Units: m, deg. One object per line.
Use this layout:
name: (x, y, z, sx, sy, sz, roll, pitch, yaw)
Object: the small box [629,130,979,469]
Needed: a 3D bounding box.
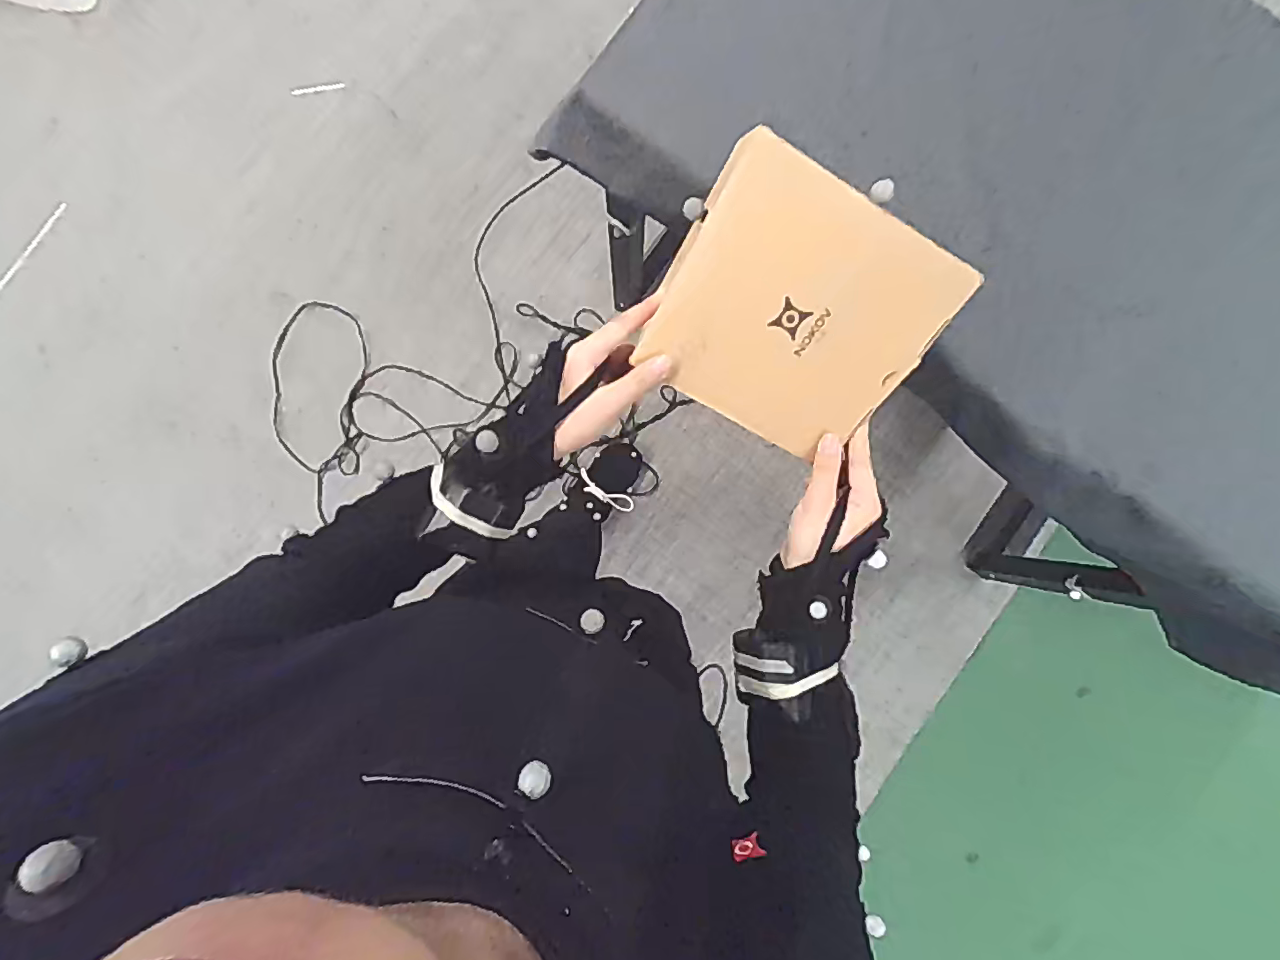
small box: (0.109, -0.144, 0.435, 0.179, 0.176, 0.168, 26, 119, -11)
